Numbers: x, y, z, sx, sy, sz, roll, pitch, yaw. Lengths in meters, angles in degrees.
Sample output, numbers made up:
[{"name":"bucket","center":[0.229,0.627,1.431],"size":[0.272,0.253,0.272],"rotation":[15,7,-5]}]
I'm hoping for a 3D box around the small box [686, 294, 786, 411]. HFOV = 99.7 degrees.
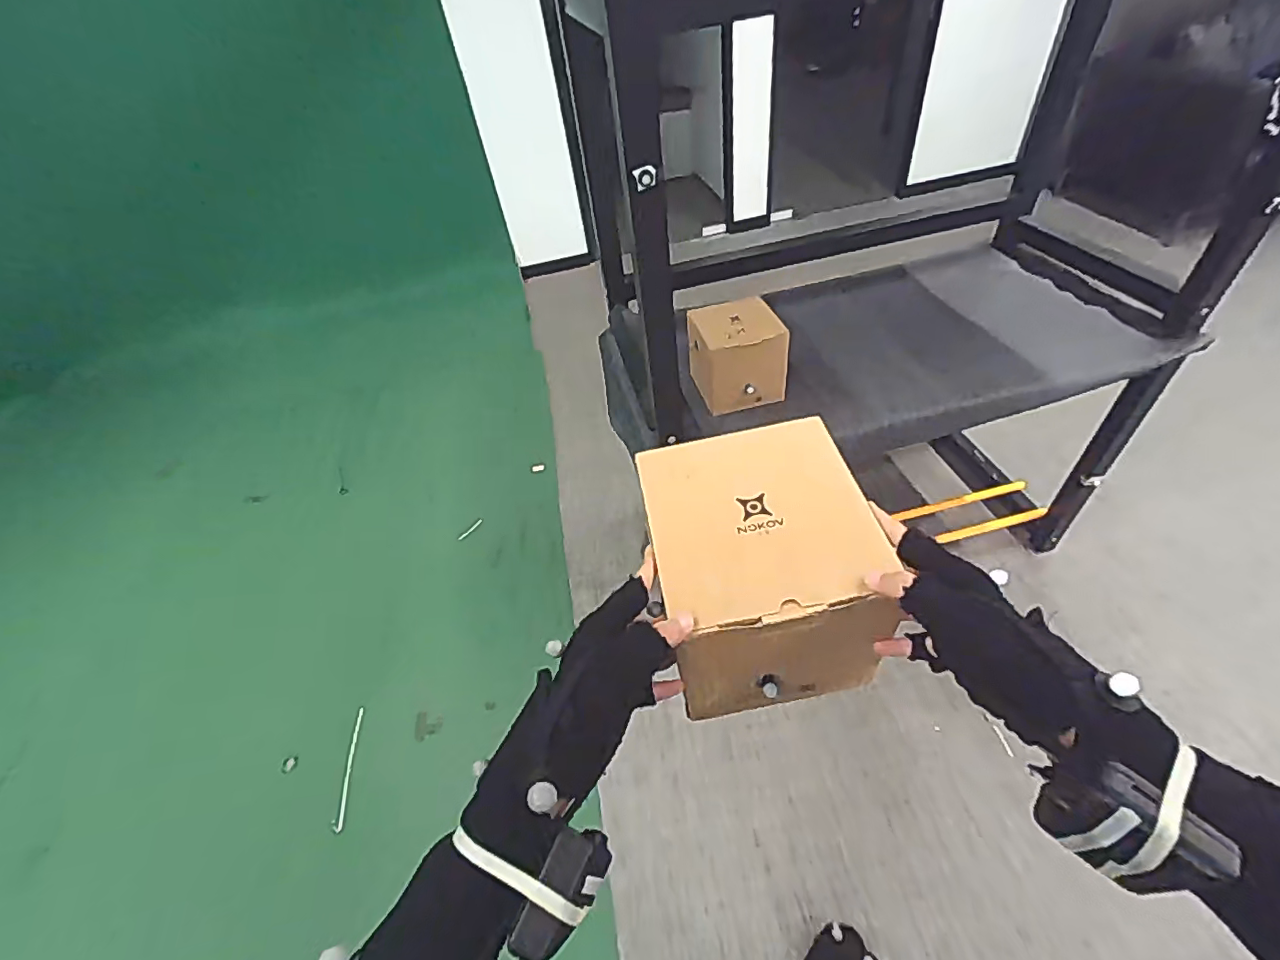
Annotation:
[{"name":"small box","center":[0.204,-0.277,1.179],"size":[0.168,0.176,0.179],"rotation":[-14,45,-3]}]
